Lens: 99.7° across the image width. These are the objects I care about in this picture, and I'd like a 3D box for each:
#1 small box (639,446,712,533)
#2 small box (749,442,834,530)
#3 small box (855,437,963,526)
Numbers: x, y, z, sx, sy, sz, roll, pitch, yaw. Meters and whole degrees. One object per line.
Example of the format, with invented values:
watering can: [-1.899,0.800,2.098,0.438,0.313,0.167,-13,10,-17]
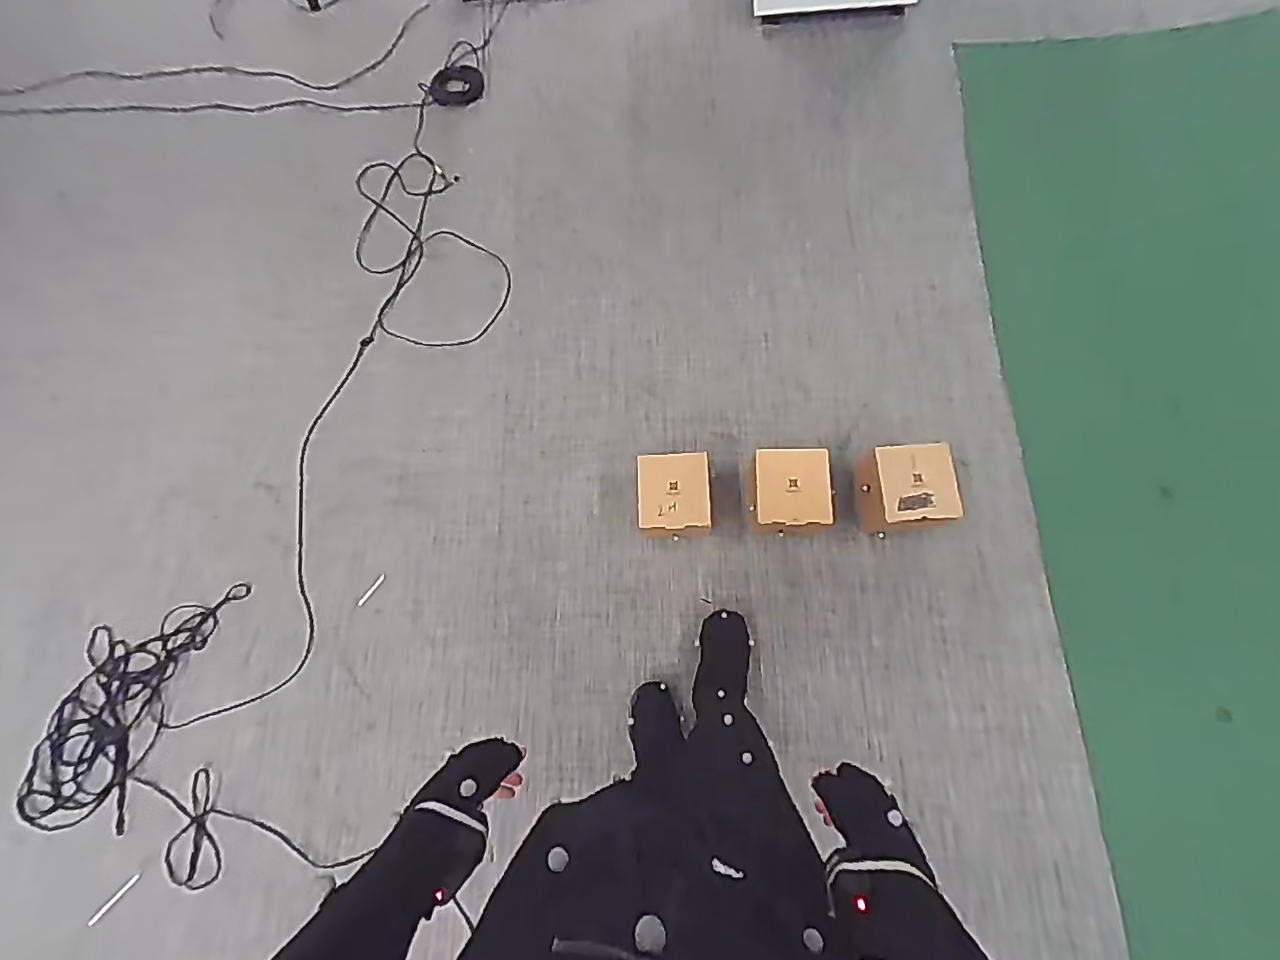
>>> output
small box: [0.086,0.027,1.310,0.168,0.176,0.179,-3,76,6]
small box: [0.353,0.019,1.291,0.168,0.176,0.179,0,76,5]
small box: [0.621,0.010,1.269,0.168,0.176,0.179,-4,75,4]
